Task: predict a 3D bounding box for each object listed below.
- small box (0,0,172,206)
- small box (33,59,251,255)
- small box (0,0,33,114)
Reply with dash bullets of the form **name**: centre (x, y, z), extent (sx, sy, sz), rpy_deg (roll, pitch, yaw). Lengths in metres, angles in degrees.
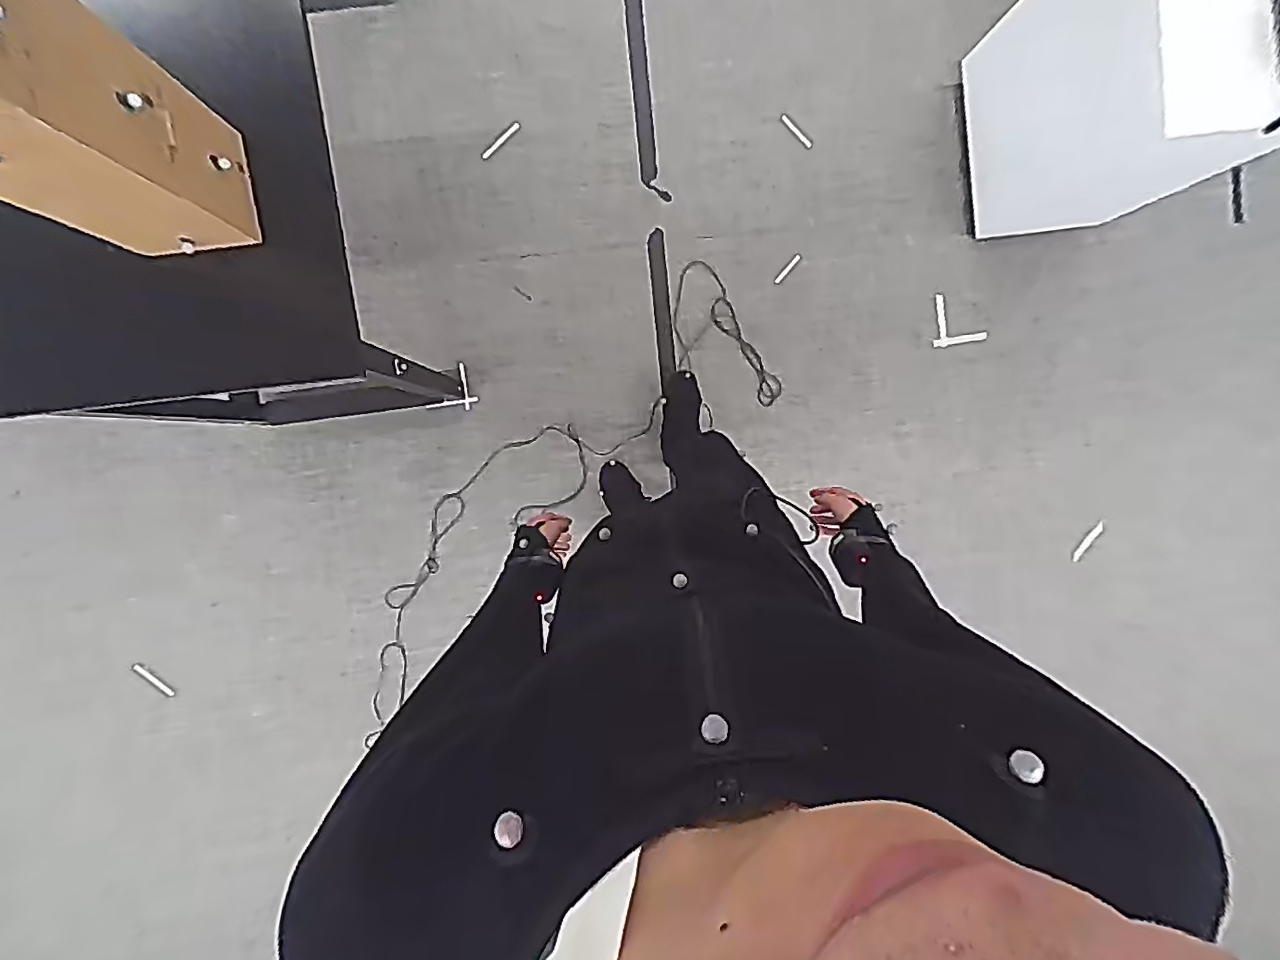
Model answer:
- **small box**: centre (-0.661, -0.412, 0.571), extent (0.179, 0.176, 0.168), rpy_deg (-8, 95, -3)
- **small box**: centre (-0.670, -0.424, 0.736), extent (0.179, 0.176, 0.168), rpy_deg (-9, 95, -4)
- **small box**: centre (-0.650, -0.400, 0.409), extent (0.179, 0.176, 0.168), rpy_deg (-9, 96, -4)
